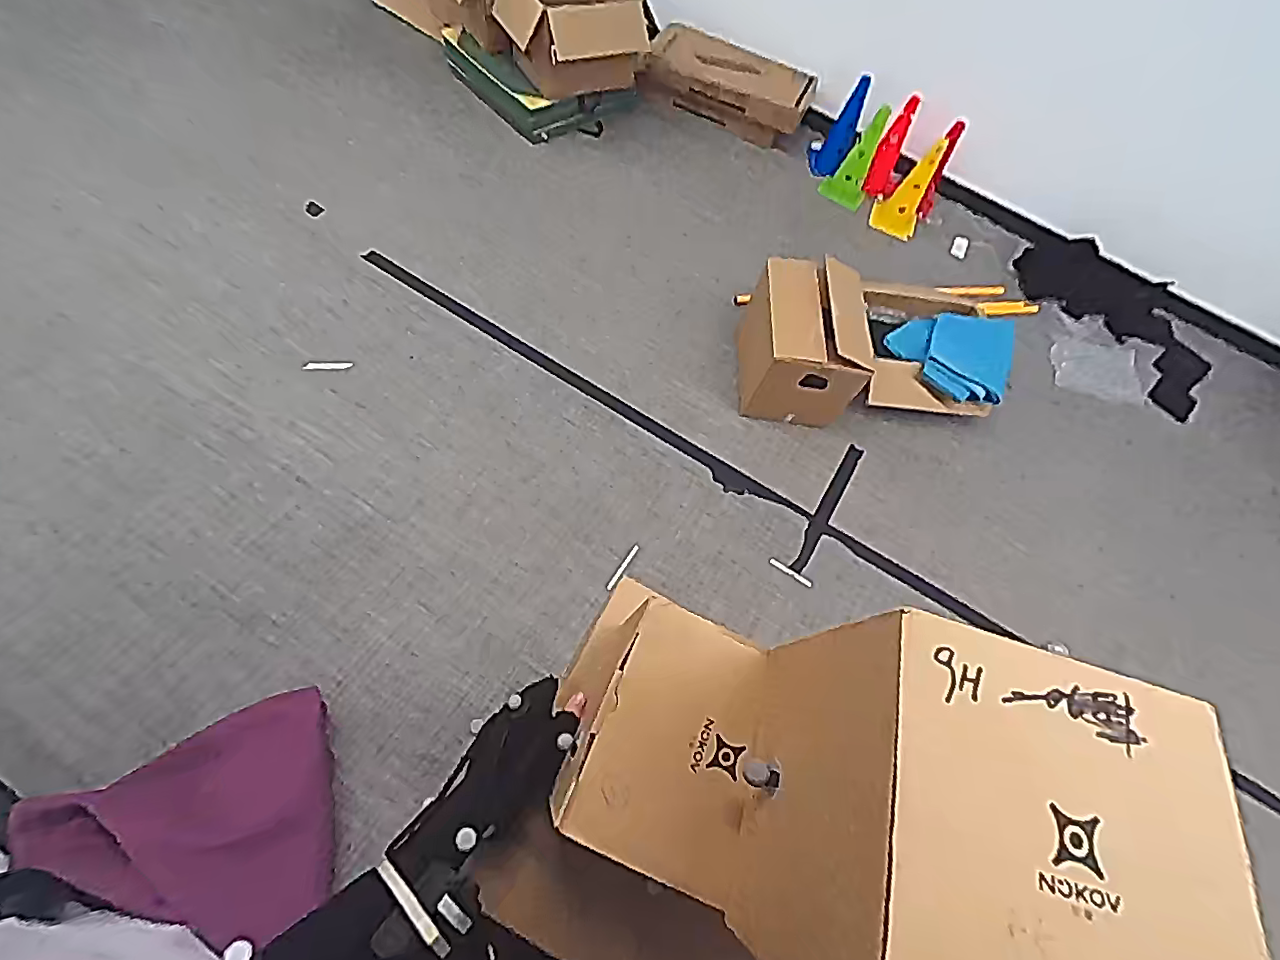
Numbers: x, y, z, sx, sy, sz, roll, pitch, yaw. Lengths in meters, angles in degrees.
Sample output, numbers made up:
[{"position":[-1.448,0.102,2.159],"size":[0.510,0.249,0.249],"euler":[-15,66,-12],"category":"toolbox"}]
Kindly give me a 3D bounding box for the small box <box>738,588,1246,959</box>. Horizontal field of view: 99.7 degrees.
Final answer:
[{"position":[0.167,0.184,0.306],"size":[0.168,0.176,0.179],"euler":[19,65,-2],"category":"small box"}]

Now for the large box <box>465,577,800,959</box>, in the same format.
[{"position":[0.058,0.373,0.653],"size":[0.408,0.320,0.320],"euler":[29,65,2],"category":"large box"}]
